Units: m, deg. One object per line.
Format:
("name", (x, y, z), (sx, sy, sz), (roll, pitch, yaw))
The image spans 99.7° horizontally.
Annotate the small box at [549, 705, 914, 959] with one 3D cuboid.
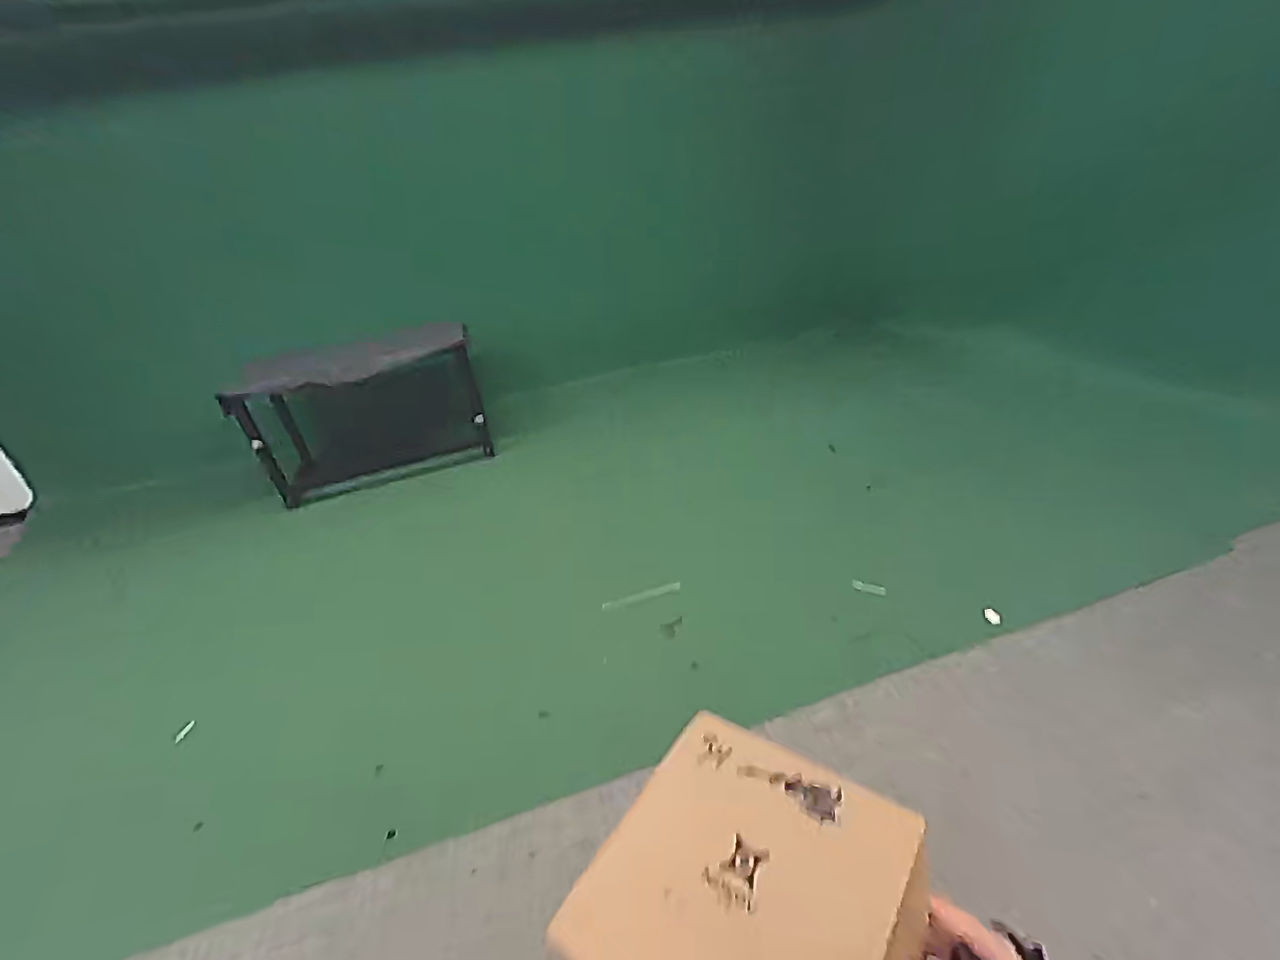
("small box", (0.076, 0.301, 0.364), (0.168, 0.176, 0.179), (10, 37, 40))
